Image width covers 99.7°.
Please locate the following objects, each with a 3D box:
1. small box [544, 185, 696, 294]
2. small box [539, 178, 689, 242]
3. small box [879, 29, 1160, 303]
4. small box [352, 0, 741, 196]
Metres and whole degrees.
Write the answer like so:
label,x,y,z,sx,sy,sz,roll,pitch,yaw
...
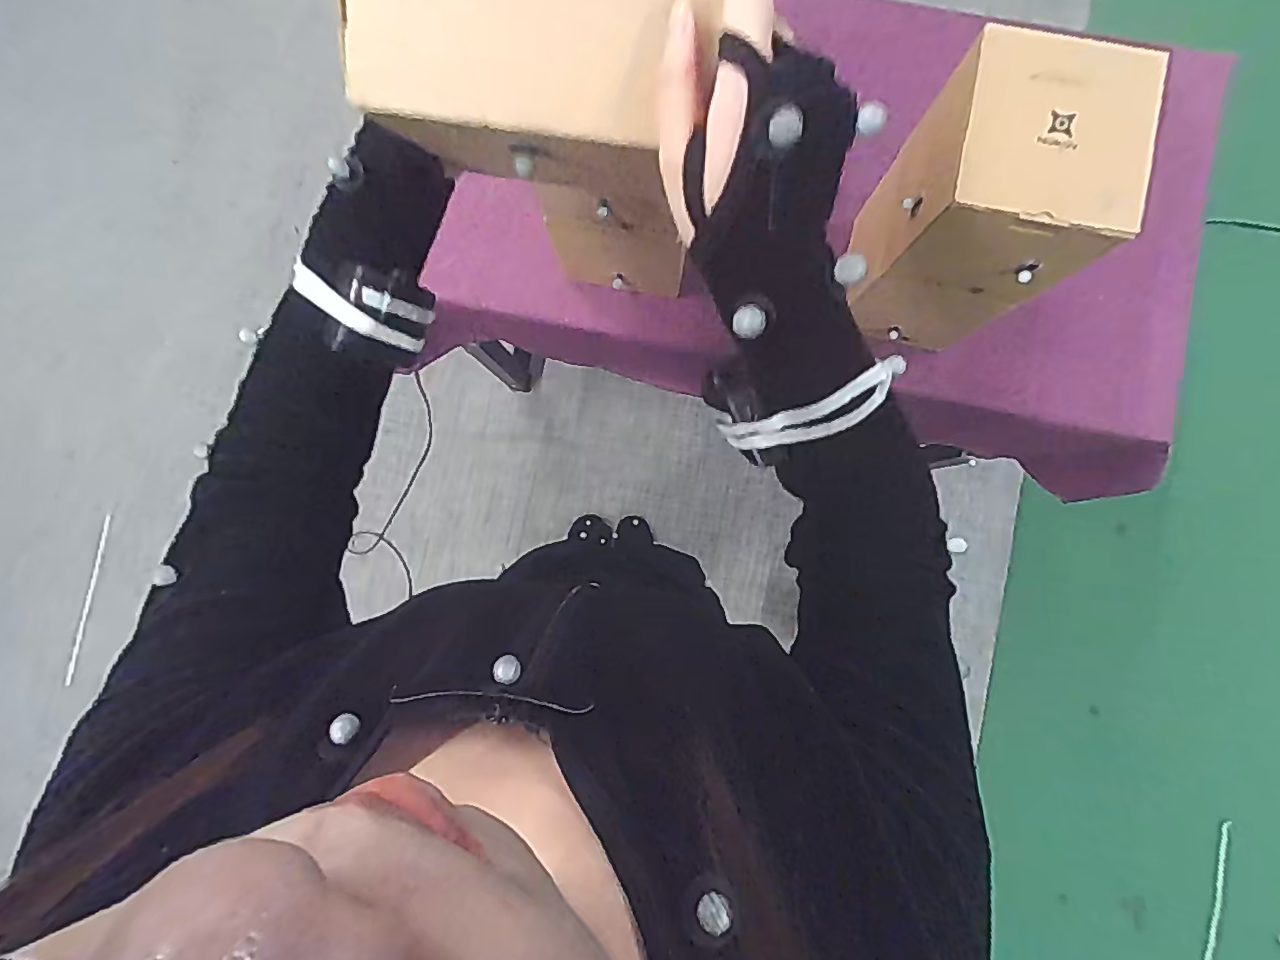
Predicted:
label,x,y,z,sx,sy,sz,roll,pitch,yaw
small box,-0.018,-0.375,0.743,0.179,0.176,0.168,10,86,1
small box,-0.020,-0.391,0.578,0.168,0.176,0.179,12,87,3
small box,0.373,-0.307,0.566,0.168,0.176,0.179,12,87,2
small box,-0.034,-0.271,0.304,0.179,0.176,0.168,8,110,0
